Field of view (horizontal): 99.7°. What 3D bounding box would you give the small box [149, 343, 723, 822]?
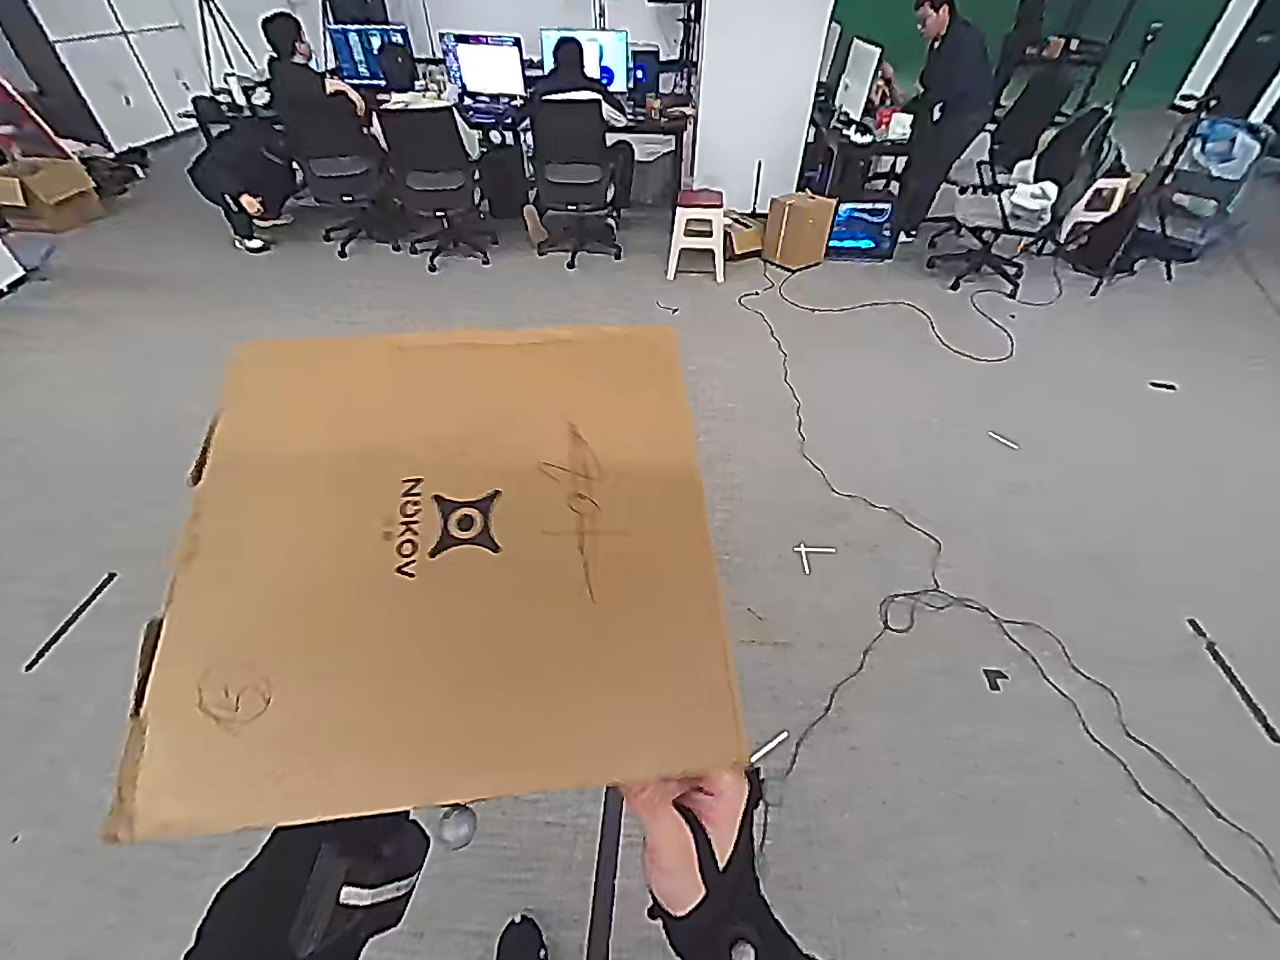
[{"bbox_3d":[-0.072,0.056,0.270,0.179,0.176,0.168,-6,65,-7],"label":"small box"}]
